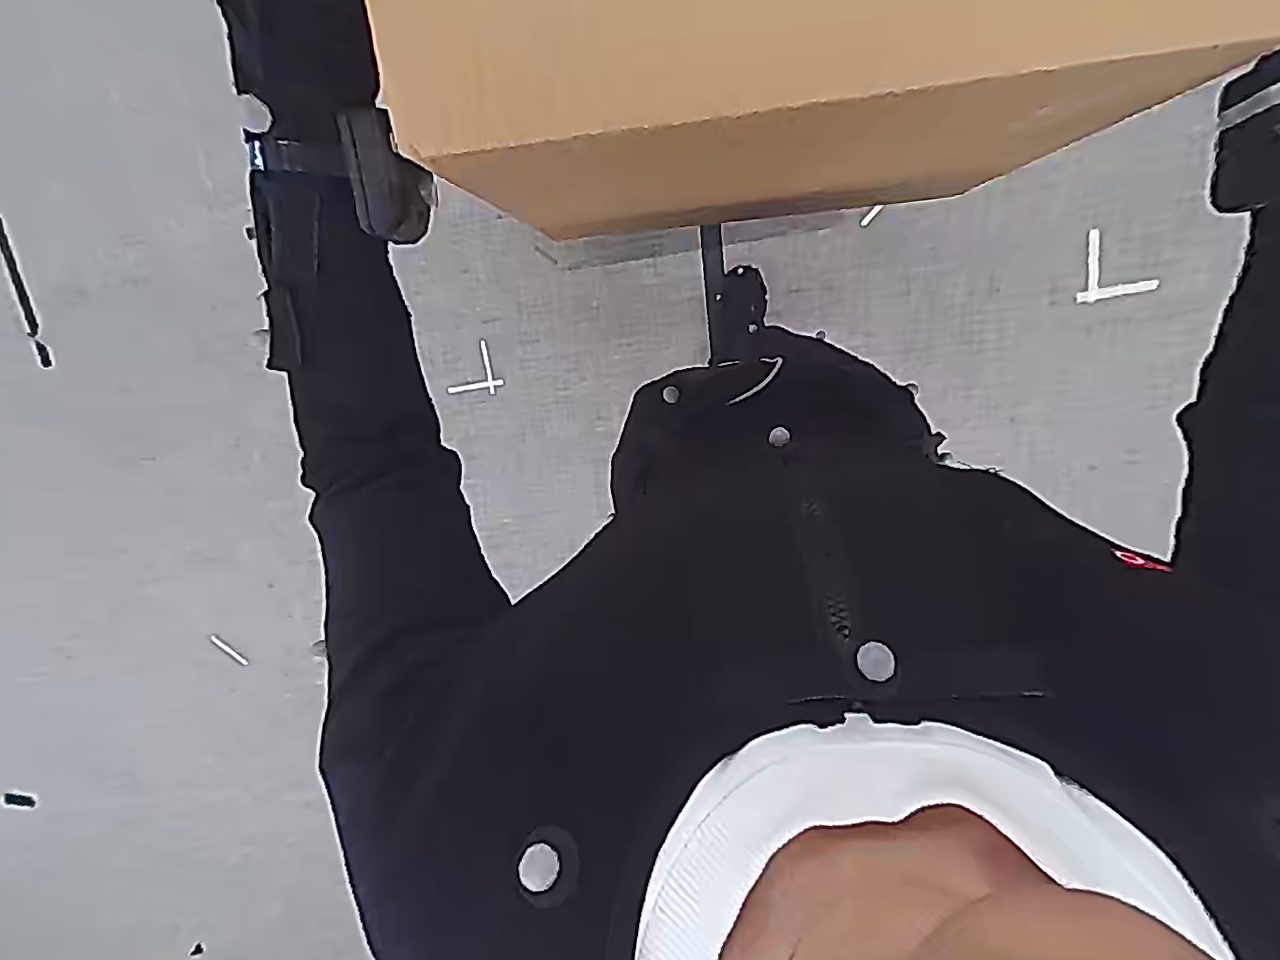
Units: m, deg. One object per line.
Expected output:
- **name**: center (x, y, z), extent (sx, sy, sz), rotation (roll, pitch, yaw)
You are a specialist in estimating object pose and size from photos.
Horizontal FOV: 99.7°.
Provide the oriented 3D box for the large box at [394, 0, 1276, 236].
- **large box**: center (0.077, -0.373, 0.358), extent (0.408, 0.320, 0.320), rotation (-5, 107, 6)
